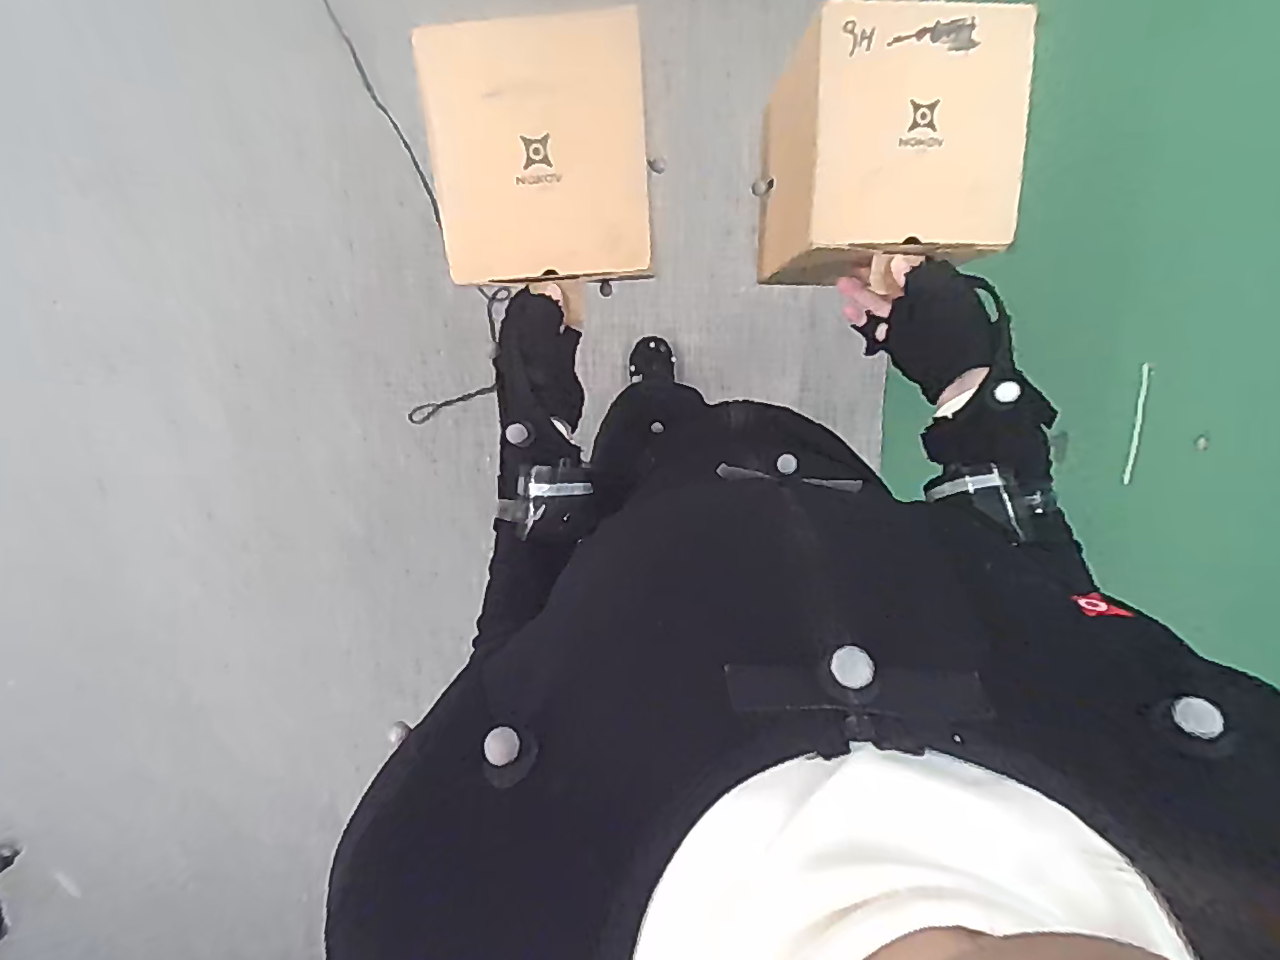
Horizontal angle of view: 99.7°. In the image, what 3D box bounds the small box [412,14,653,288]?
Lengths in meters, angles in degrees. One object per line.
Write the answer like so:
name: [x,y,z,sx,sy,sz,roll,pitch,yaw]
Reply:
small box: [-0.077,-0.275,0.495,0.168,0.176,0.179,-4,109,4]
